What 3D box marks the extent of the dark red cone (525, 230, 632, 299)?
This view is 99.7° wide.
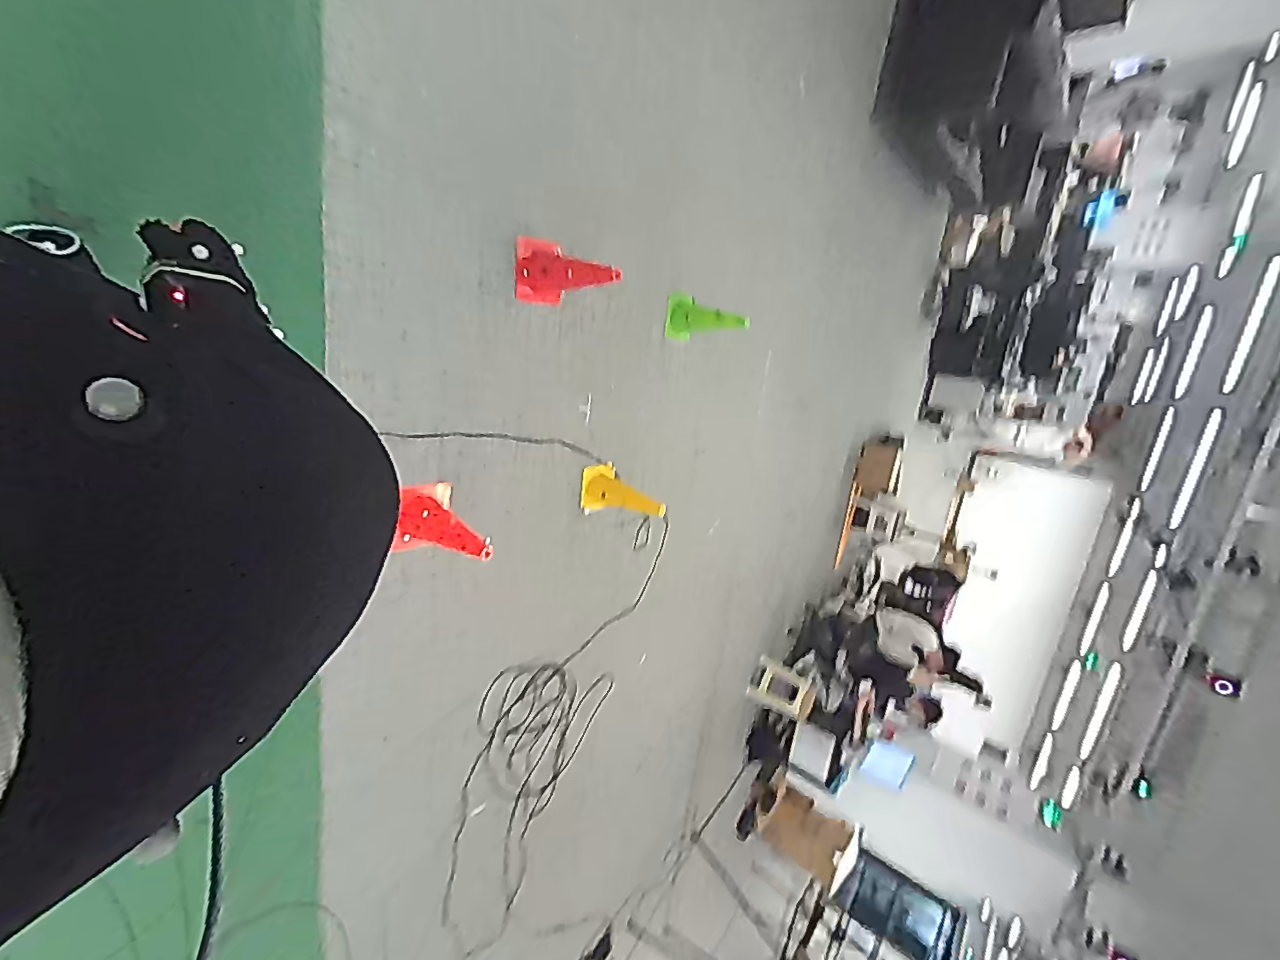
[{"bbox_3d":[-0.179,-0.668,1.701,0.201,0.394,0.202,-16,118,-47],"label":"dark red cone"}]

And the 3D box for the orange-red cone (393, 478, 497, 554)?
[{"bbox_3d":[-0.549,0.140,1.615,0.199,0.360,0.198,-10,113,-51],"label":"orange-red cone"}]

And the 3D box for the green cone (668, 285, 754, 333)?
[{"bbox_3d":[0.330,-0.733,2.375,0.200,0.368,0.202,-12,115,-49],"label":"green cone"}]
